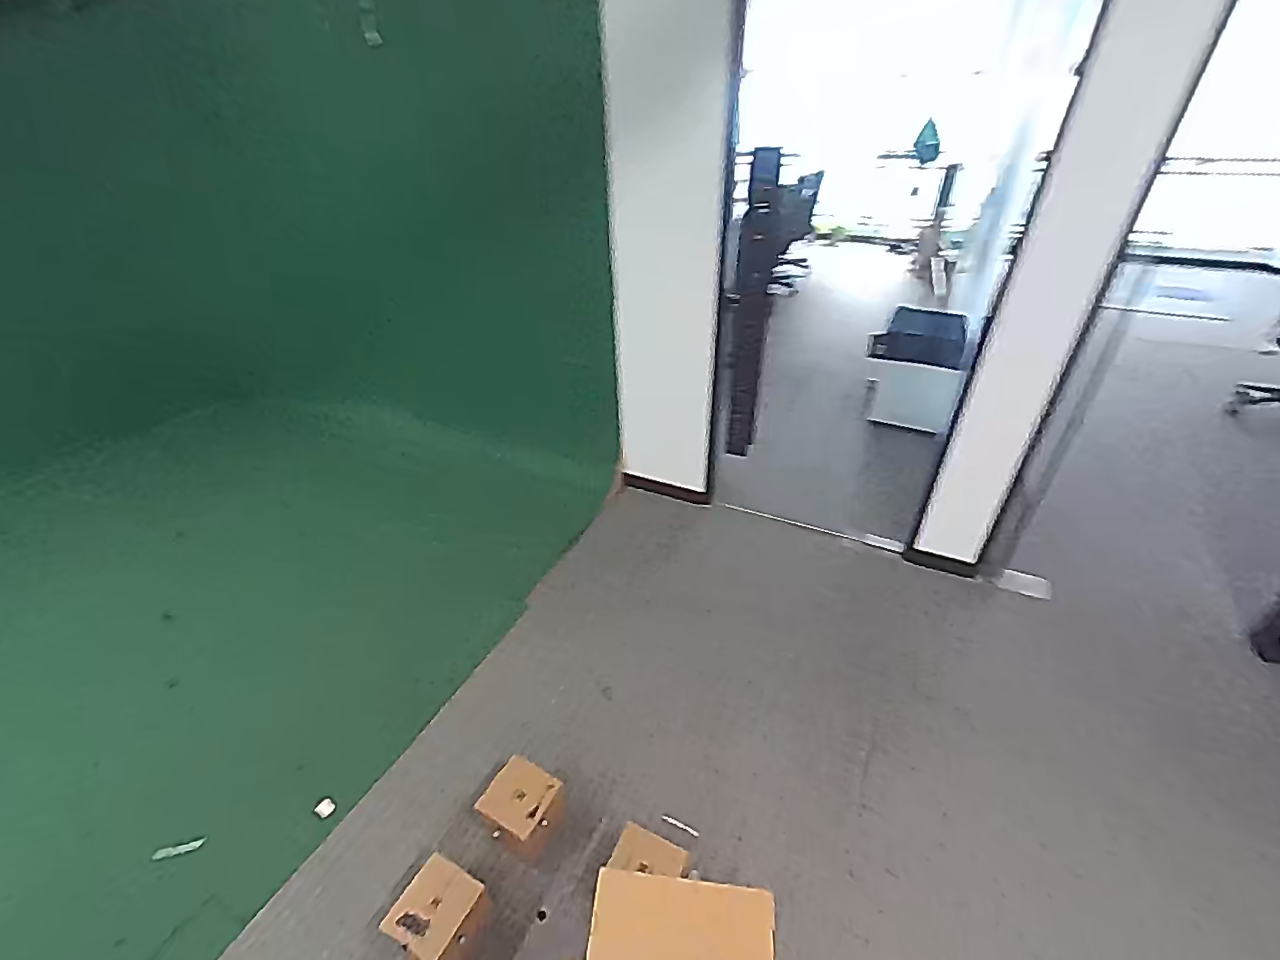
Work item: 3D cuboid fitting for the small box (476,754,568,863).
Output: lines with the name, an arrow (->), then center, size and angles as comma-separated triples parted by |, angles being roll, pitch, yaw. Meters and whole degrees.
small box -> -0.318, 0.907, 1.490 | 0.179, 0.176, 0.168 | 17, 38, 25

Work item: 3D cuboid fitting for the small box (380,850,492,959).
small box -> -0.475, 1.046, 1.289 | 0.168, 0.176, 0.179 | 17, 37, 24

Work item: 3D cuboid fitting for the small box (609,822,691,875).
small box -> 0.014, 1.005, 1.340 | 0.179, 0.176, 0.168 | 16, 37, 23

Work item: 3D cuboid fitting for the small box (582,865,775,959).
small box -> 0.035, 0.506, 0.524 | 0.179, 0.176, 0.168 | 3, 39, 6
